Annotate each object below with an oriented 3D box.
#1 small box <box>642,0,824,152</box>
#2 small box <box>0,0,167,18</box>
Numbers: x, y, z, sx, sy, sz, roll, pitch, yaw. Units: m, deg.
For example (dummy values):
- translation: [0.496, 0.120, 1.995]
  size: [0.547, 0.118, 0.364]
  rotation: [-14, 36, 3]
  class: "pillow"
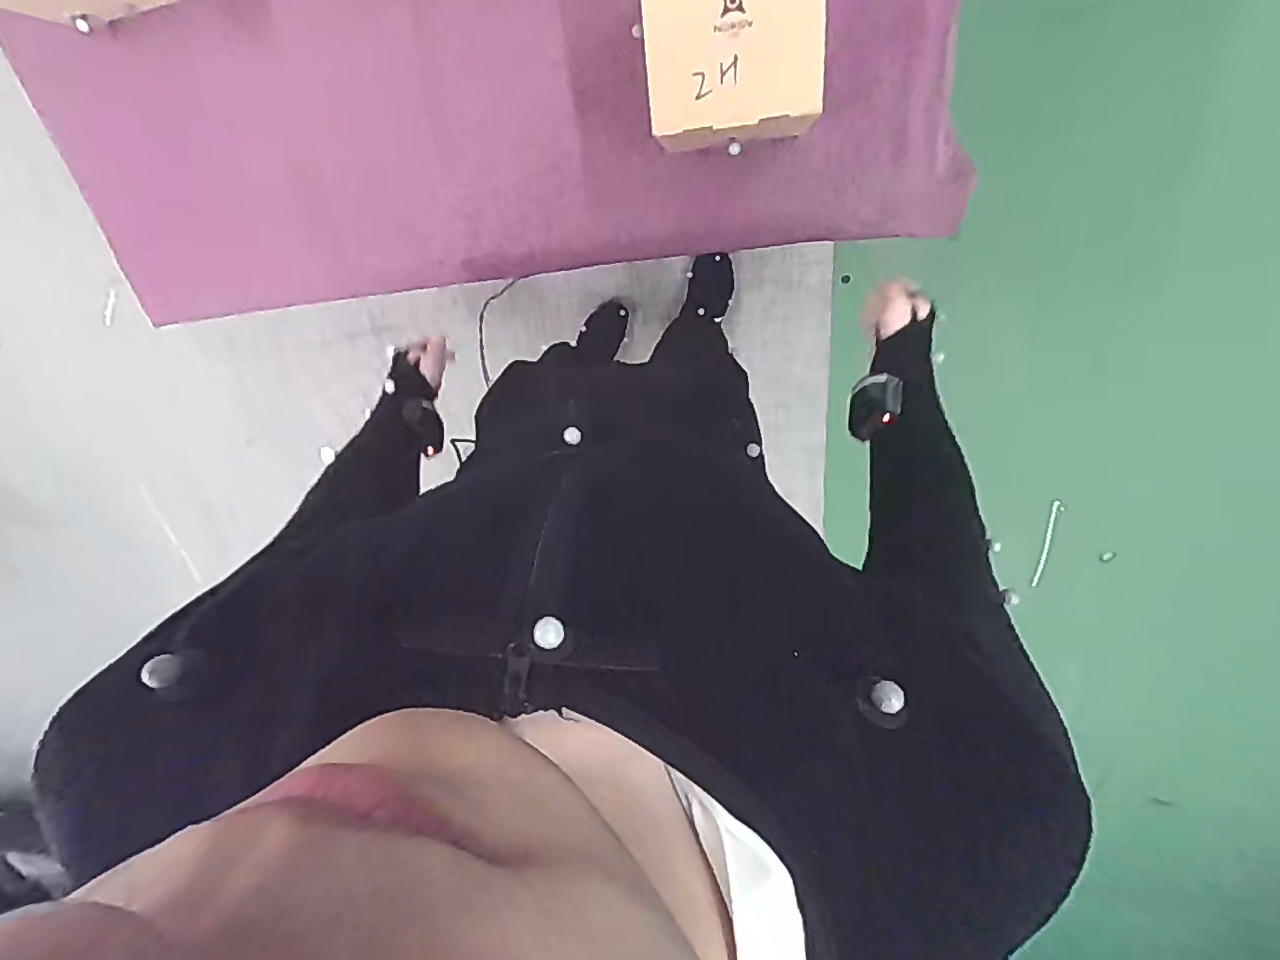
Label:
- translation: [0.095, -0.460, 0.562]
  size: [0.168, 0.176, 0.179]
  rotation: [-1, 116, 11]
  class: "small box"
- translation: [-0.680, -0.643, 0.592]
  size: [0.168, 0.176, 0.179]
  rotation: [-4, 116, 10]
  class: "small box"
